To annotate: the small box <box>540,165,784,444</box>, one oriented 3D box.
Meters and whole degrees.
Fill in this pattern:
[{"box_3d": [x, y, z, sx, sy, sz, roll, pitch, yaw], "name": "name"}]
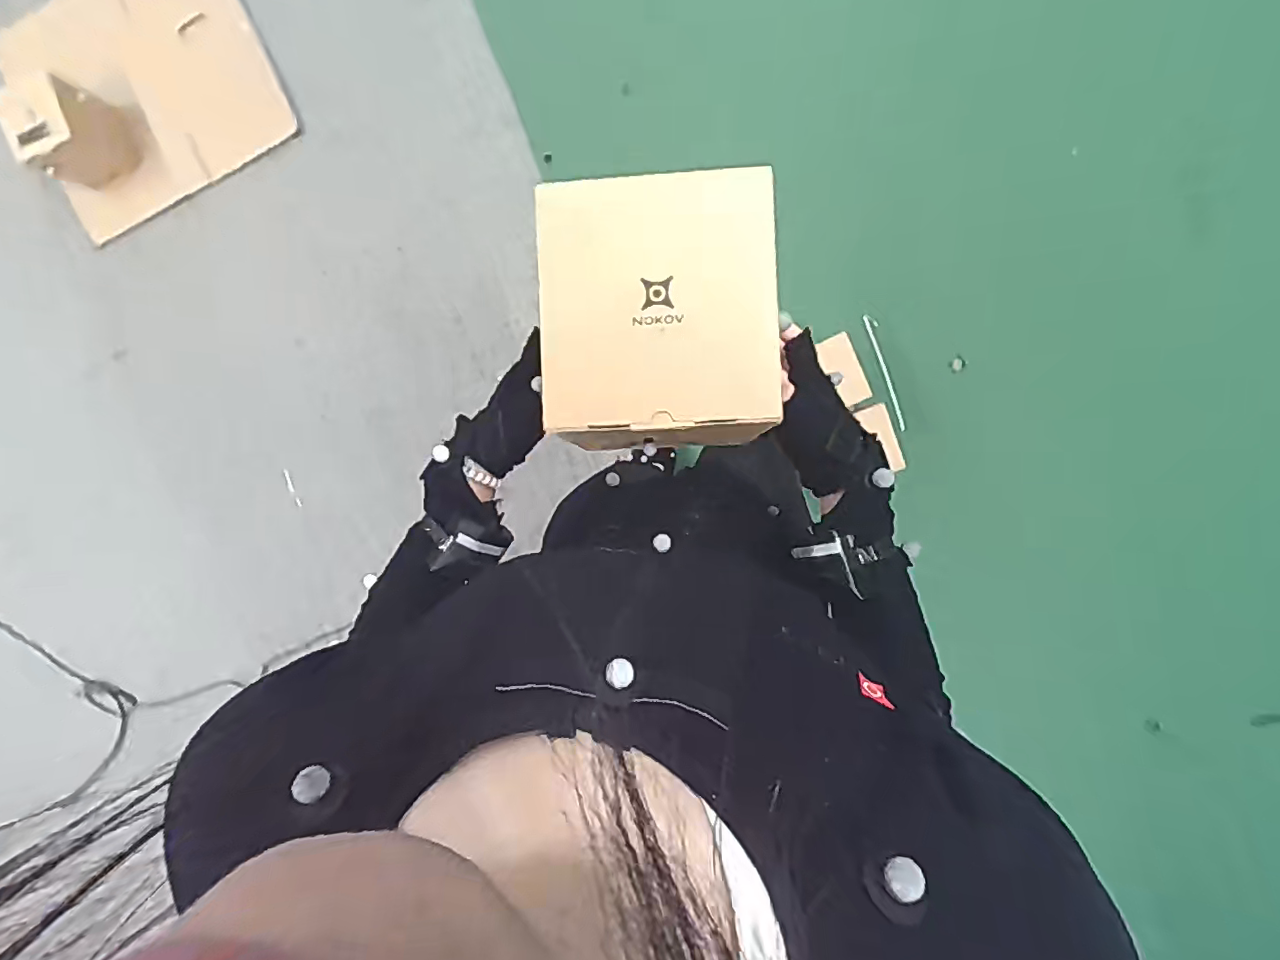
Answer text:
[{"box_3d": [0.017, -0.126, 0.452, 0.168, 0.176, 0.179, -3, 90, 3], "name": "small box"}]
